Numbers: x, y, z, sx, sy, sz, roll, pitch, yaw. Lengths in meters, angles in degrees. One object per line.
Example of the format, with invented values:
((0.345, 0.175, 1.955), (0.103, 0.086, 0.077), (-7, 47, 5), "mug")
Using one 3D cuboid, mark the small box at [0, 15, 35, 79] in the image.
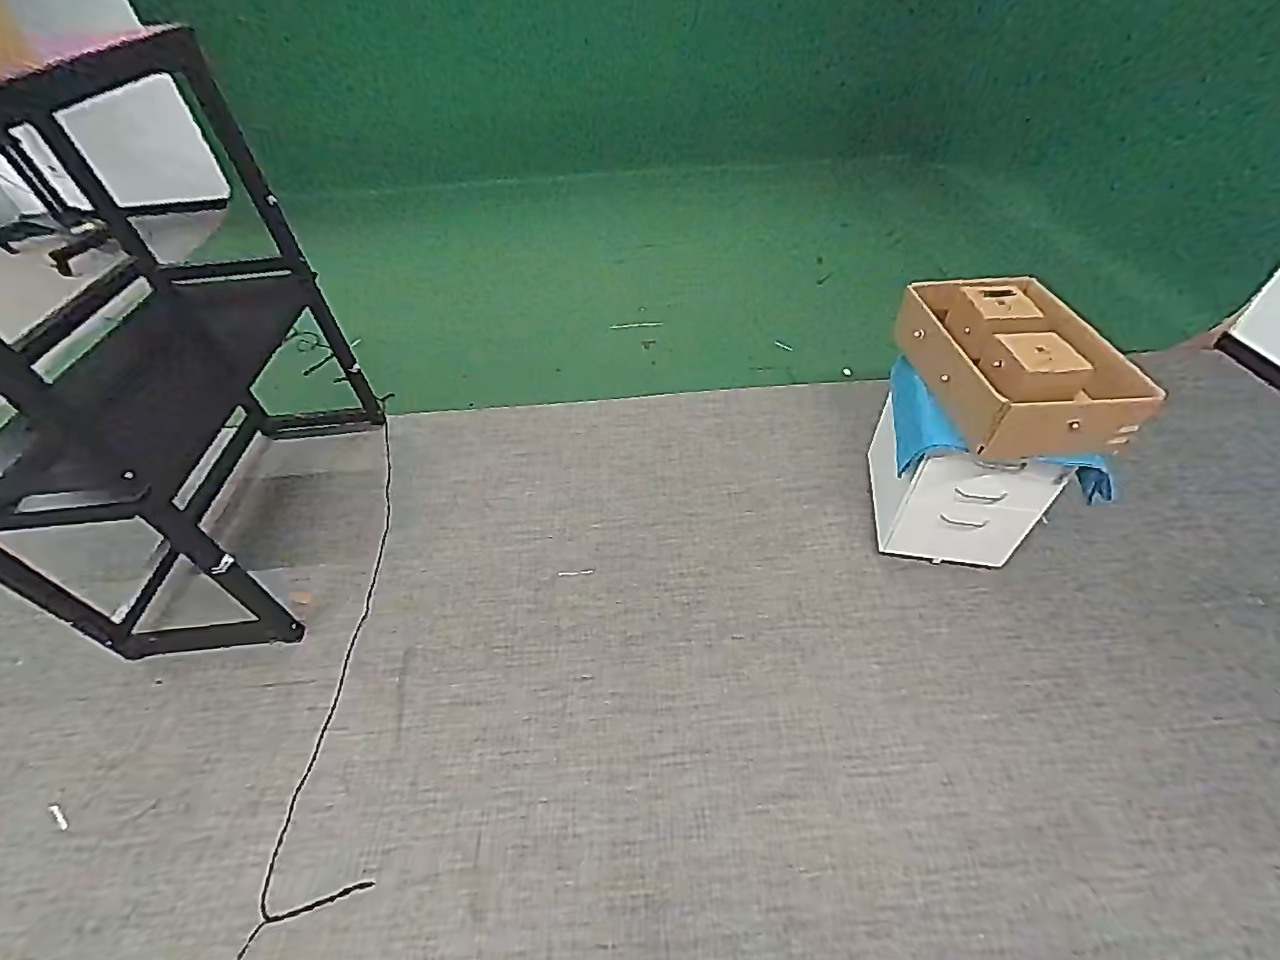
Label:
((-1.407, -0.904, 1.084), (0.168, 0.176, 0.179), (-6, 47, -2), "small box")
